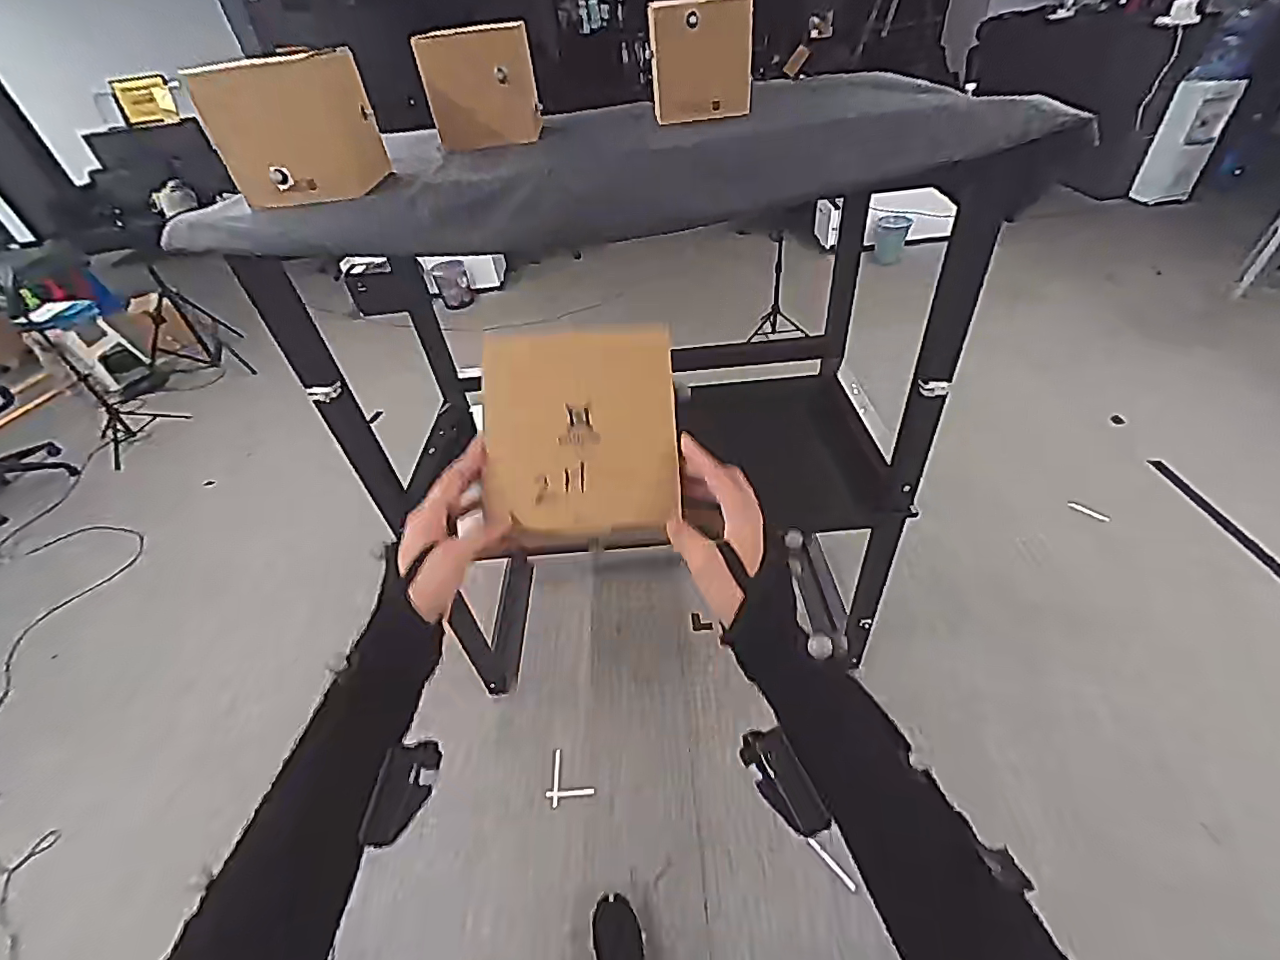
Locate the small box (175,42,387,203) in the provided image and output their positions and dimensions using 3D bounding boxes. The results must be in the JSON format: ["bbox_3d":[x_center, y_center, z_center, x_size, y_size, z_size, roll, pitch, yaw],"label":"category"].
[{"bbox_3d":[-0.492,-0.514,0.779,0.168,0.176,0.179,-7,41,1],"label":"small box"}]

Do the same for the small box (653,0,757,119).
[{"bbox_3d":[0.112,-0.770,0.981,0.168,0.176,0.179,-6,41,2],"label":"small box"}]
